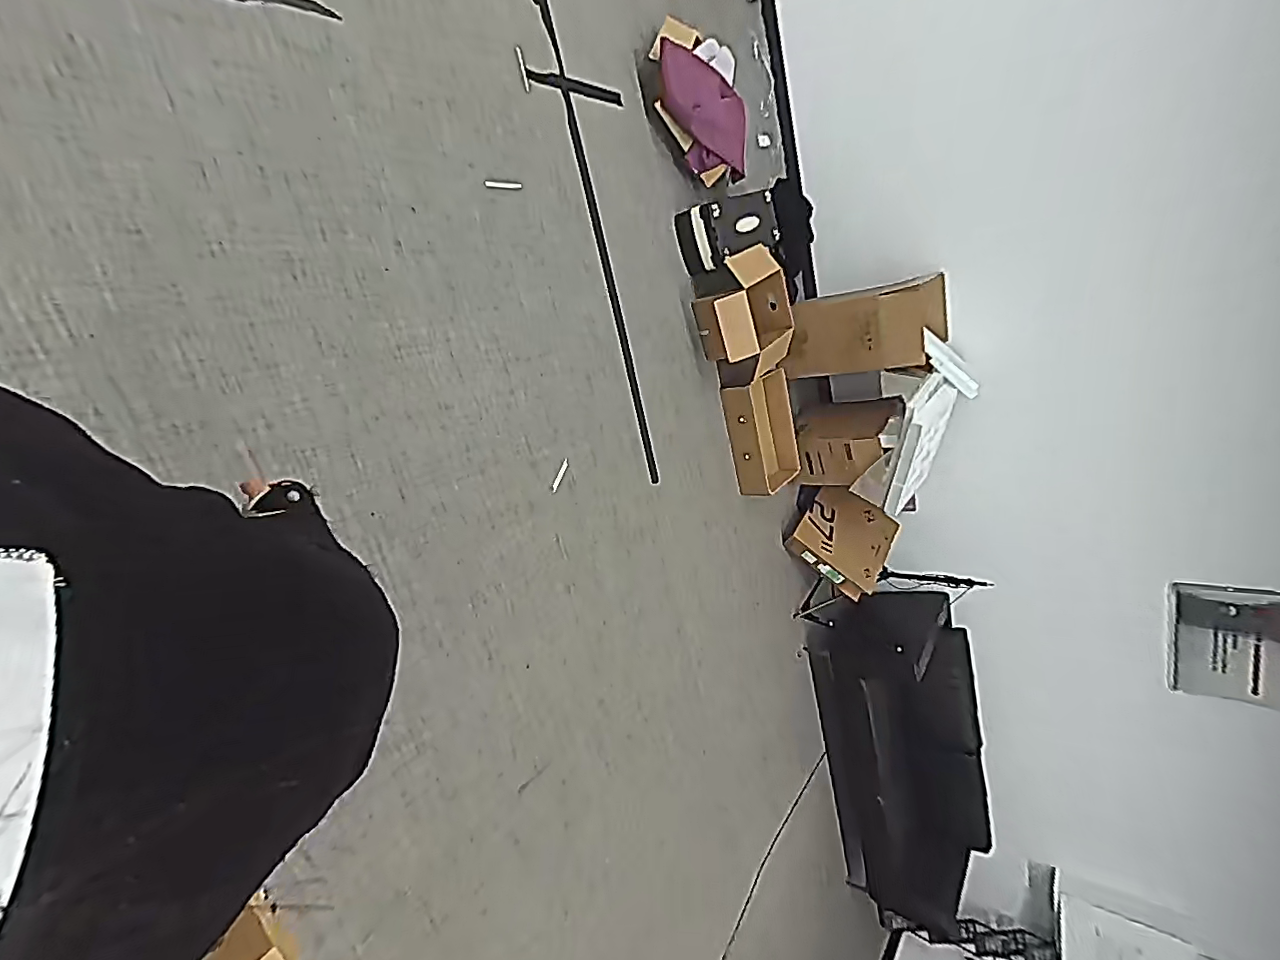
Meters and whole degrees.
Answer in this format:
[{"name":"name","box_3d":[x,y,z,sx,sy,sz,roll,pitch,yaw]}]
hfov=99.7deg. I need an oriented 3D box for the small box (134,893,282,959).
[{"name":"small box","box_3d":[-0.512,0.648,0.637,0.168,0.176,0.179,-29,108,-47]}]
